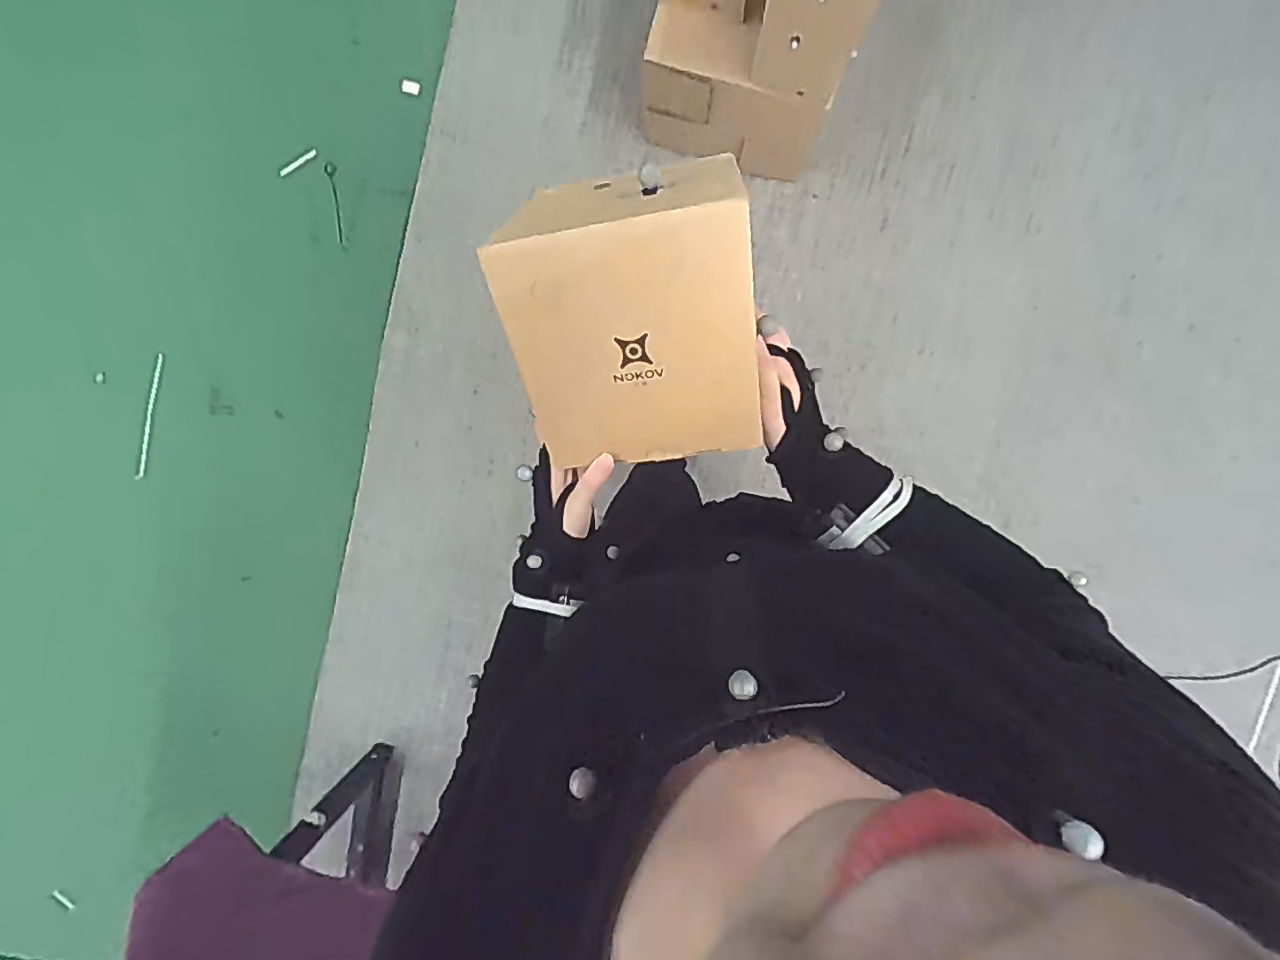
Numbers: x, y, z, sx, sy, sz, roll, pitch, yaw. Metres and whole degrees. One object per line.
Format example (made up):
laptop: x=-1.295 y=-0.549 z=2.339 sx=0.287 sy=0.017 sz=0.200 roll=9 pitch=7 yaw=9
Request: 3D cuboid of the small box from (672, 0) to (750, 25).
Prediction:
small box: x=0.148 y=-1.019 z=1.017 sx=0.168 sy=0.176 sz=0.179 roll=18 pitch=93 yaw=3

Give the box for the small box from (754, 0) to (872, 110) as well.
small box: x=0.324 y=-0.849 z=1.009 sx=0.168 sy=0.176 sz=0.179 roll=20 pitch=93 yaw=3

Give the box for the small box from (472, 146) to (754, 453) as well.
small box: x=-0.004 y=-0.146 z=0.425 sx=0.168 sy=0.176 sz=0.179 roll=-6 pitch=129 yaw=10
